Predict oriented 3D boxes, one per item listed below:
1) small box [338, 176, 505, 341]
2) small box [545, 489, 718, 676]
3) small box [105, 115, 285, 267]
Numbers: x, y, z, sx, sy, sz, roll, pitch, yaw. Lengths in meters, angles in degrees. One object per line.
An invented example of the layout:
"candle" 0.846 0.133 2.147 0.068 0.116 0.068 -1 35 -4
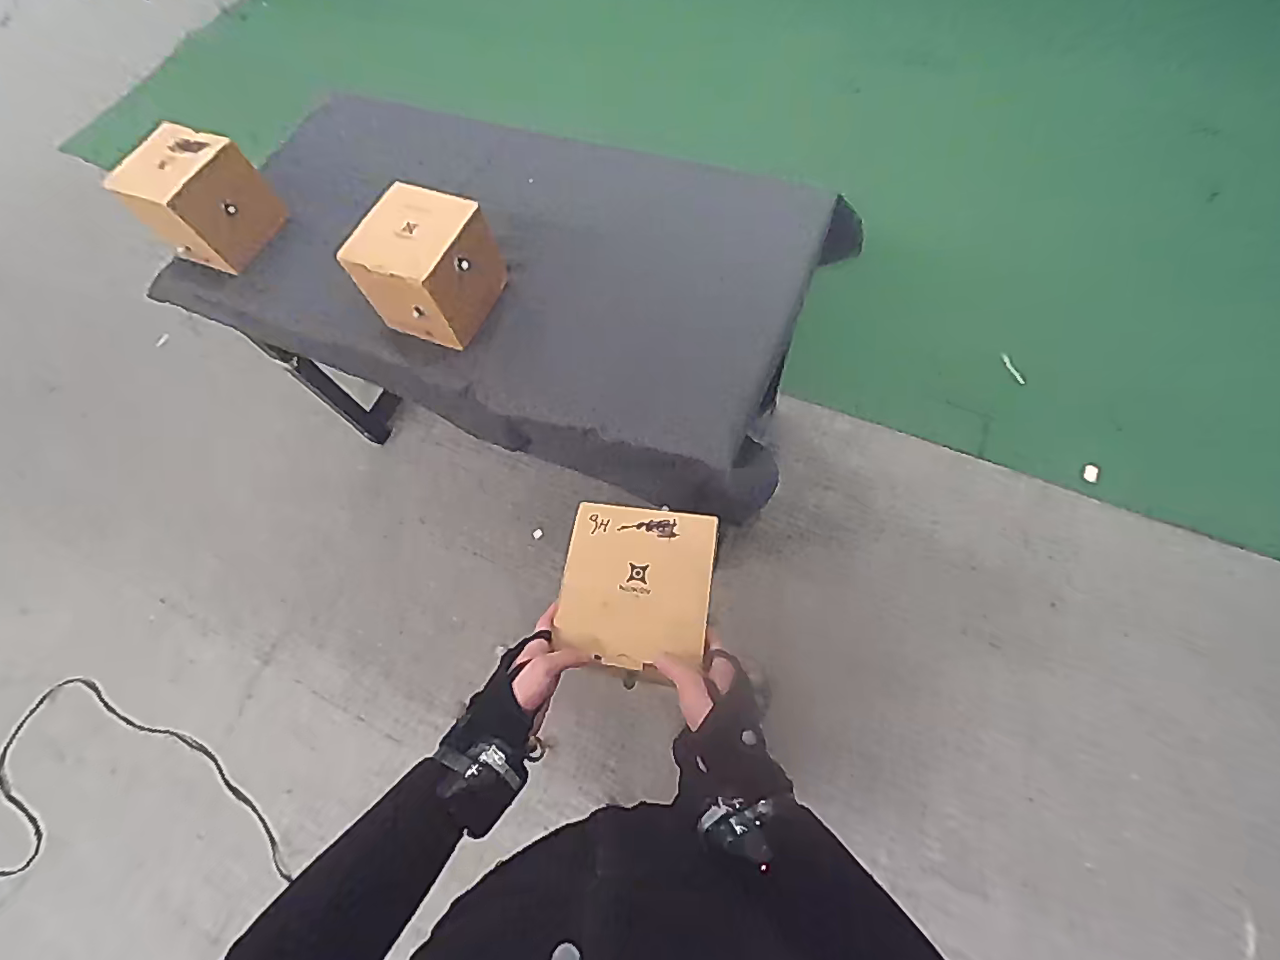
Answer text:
"small box" -0.351 -0.365 0.910 0.168 0.176 0.179 20 68 12
"small box" 0.002 0.131 0.655 0.168 0.176 0.179 7 65 9
"small box" -0.826 -0.545 1.031 0.168 0.176 0.179 21 70 14
